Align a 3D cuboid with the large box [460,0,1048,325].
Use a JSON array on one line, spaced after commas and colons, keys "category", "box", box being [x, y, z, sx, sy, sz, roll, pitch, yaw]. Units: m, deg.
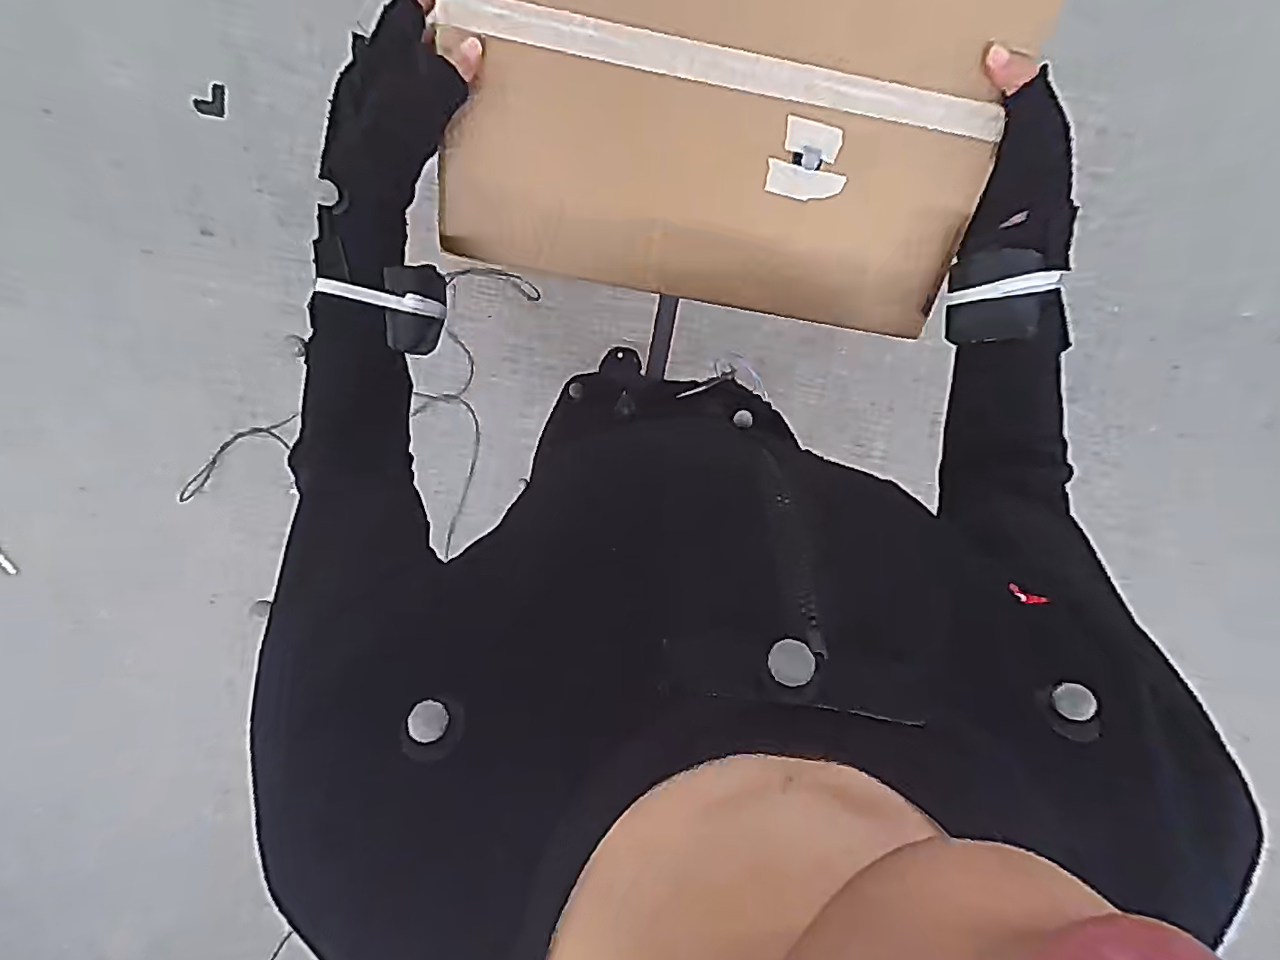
[{"category": "large box", "box": [0.069, -0.370, 0.518, 0.408, 0.320, 0.320, 9, 122, -5]}]
